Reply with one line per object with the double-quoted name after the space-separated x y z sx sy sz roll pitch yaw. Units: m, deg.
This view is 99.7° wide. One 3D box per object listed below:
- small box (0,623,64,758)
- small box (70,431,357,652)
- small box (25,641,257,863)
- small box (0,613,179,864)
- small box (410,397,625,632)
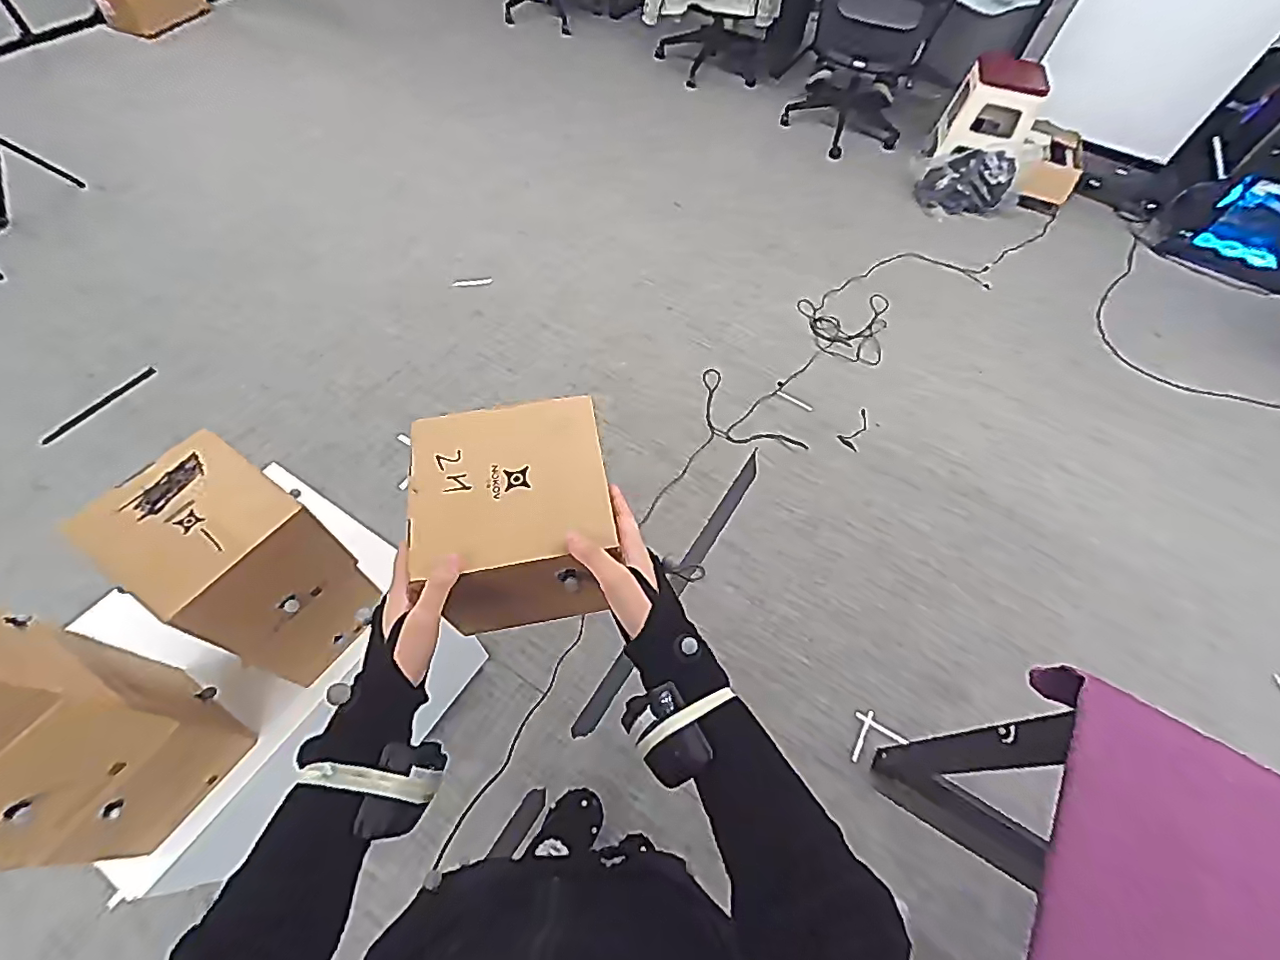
-0.618 0.166 0.398 0.179 0.176 0.168 29 62 13 "small box"
-0.487 0.081 0.648 0.179 0.176 0.168 32 63 13 "small box"
-0.640 0.336 0.673 0.179 0.176 0.168 30 62 15 "small box"
-0.628 0.252 0.535 0.179 0.176 0.168 29 61 14 "small box"
-0.113 0.041 0.547 0.179 0.176 0.168 -10 60 -5 "small box"
